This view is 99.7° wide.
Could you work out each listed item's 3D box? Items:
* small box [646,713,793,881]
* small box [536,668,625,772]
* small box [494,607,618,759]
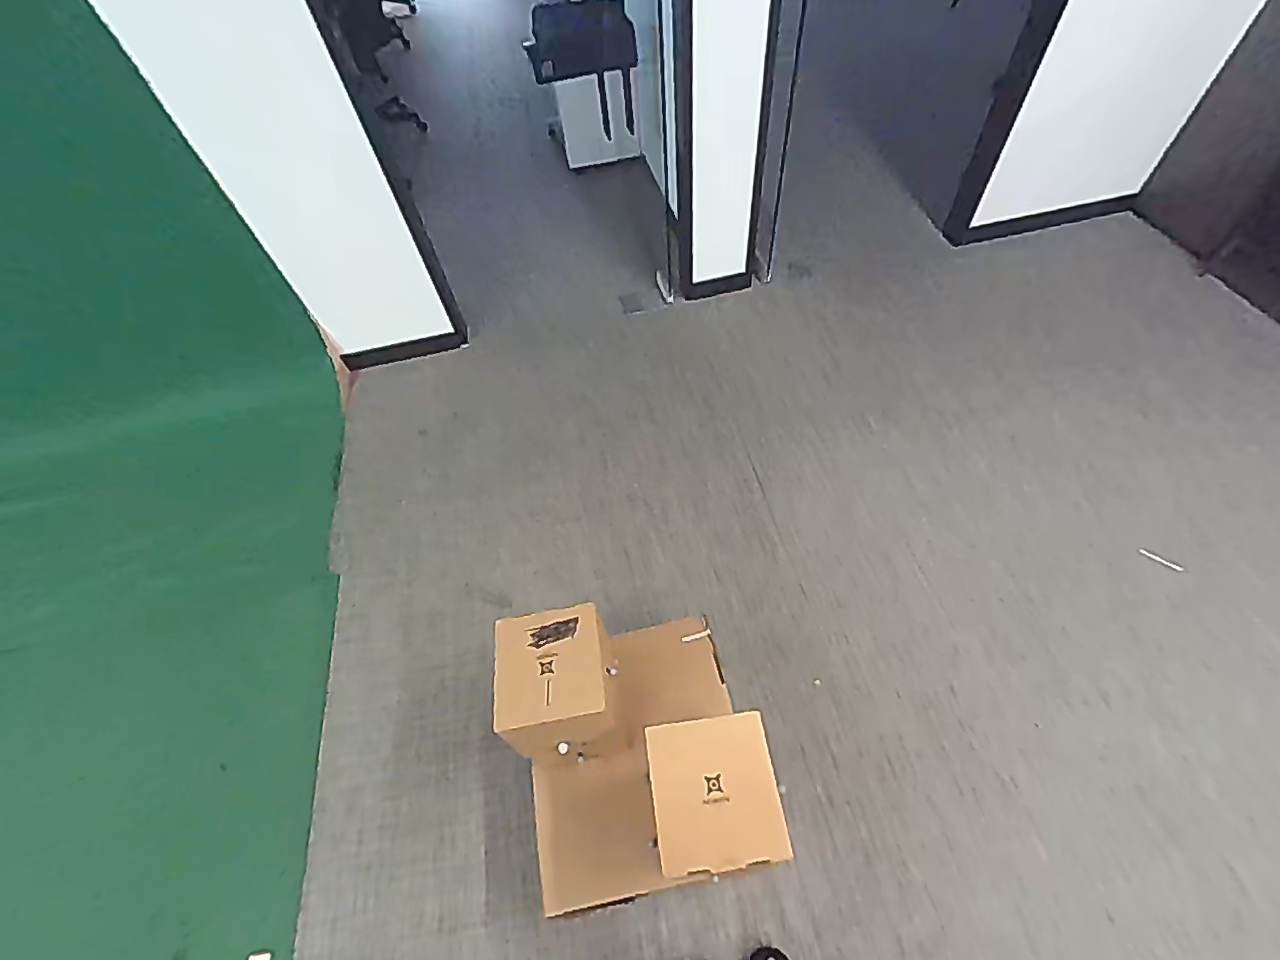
[{"bbox_3d":[0.102,0.456,0.775,0.168,0.176,0.179,-8,53,-2],"label":"small box"},{"bbox_3d":[-0.129,0.428,1.027,0.168,0.176,0.179,-13,51,-3],"label":"small box"},{"bbox_3d":[-0.134,0.336,0.889,0.168,0.176,0.179,-11,52,-1],"label":"small box"}]
